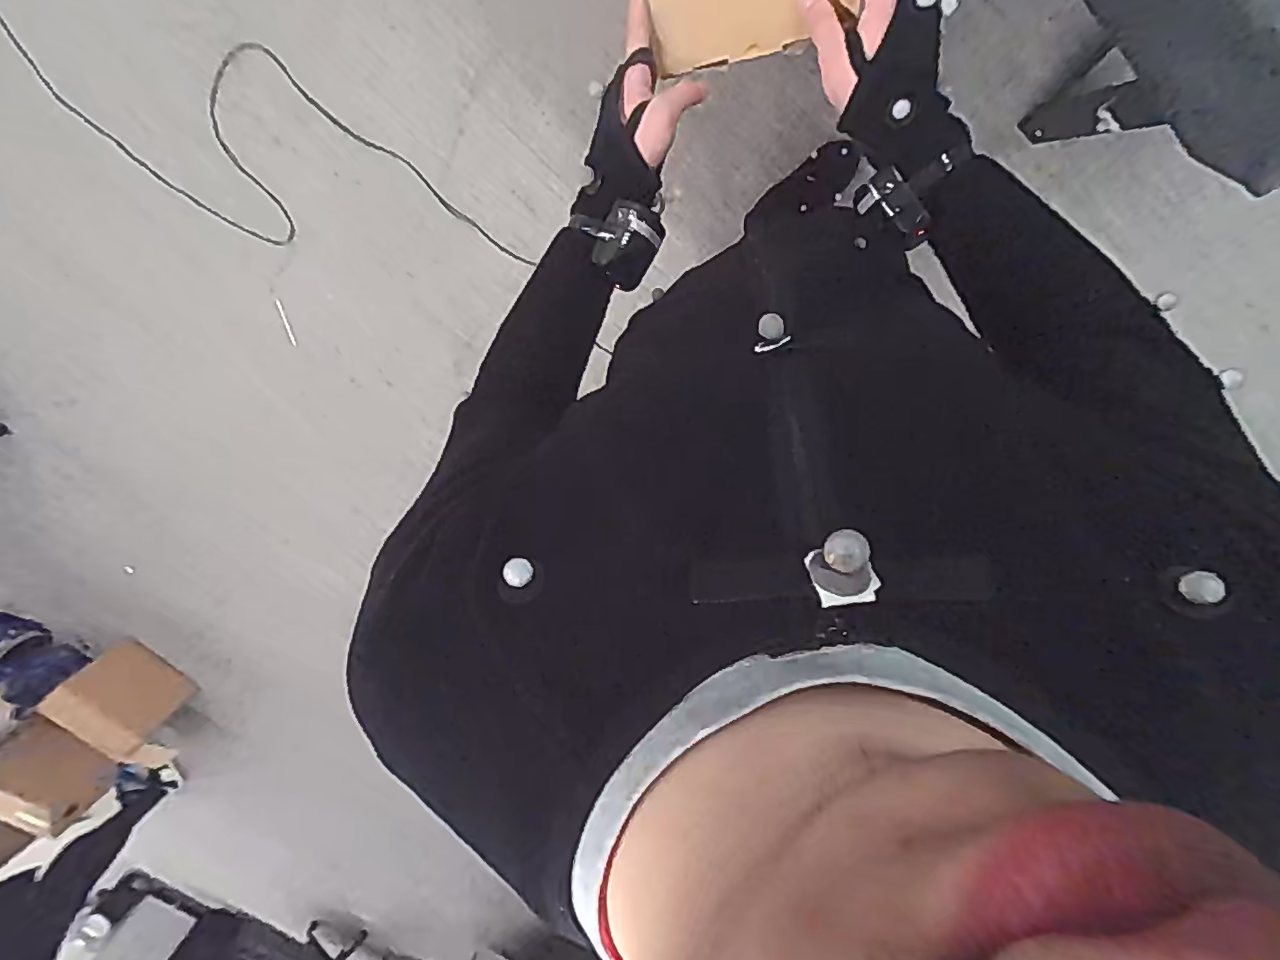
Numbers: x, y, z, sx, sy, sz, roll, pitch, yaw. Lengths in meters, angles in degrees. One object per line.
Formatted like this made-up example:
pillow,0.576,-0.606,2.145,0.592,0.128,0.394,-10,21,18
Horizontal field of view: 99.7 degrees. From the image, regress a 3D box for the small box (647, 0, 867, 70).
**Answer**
small box,0.090,-0.462,0.429,0.168,0.176,0.179,-3,132,17
